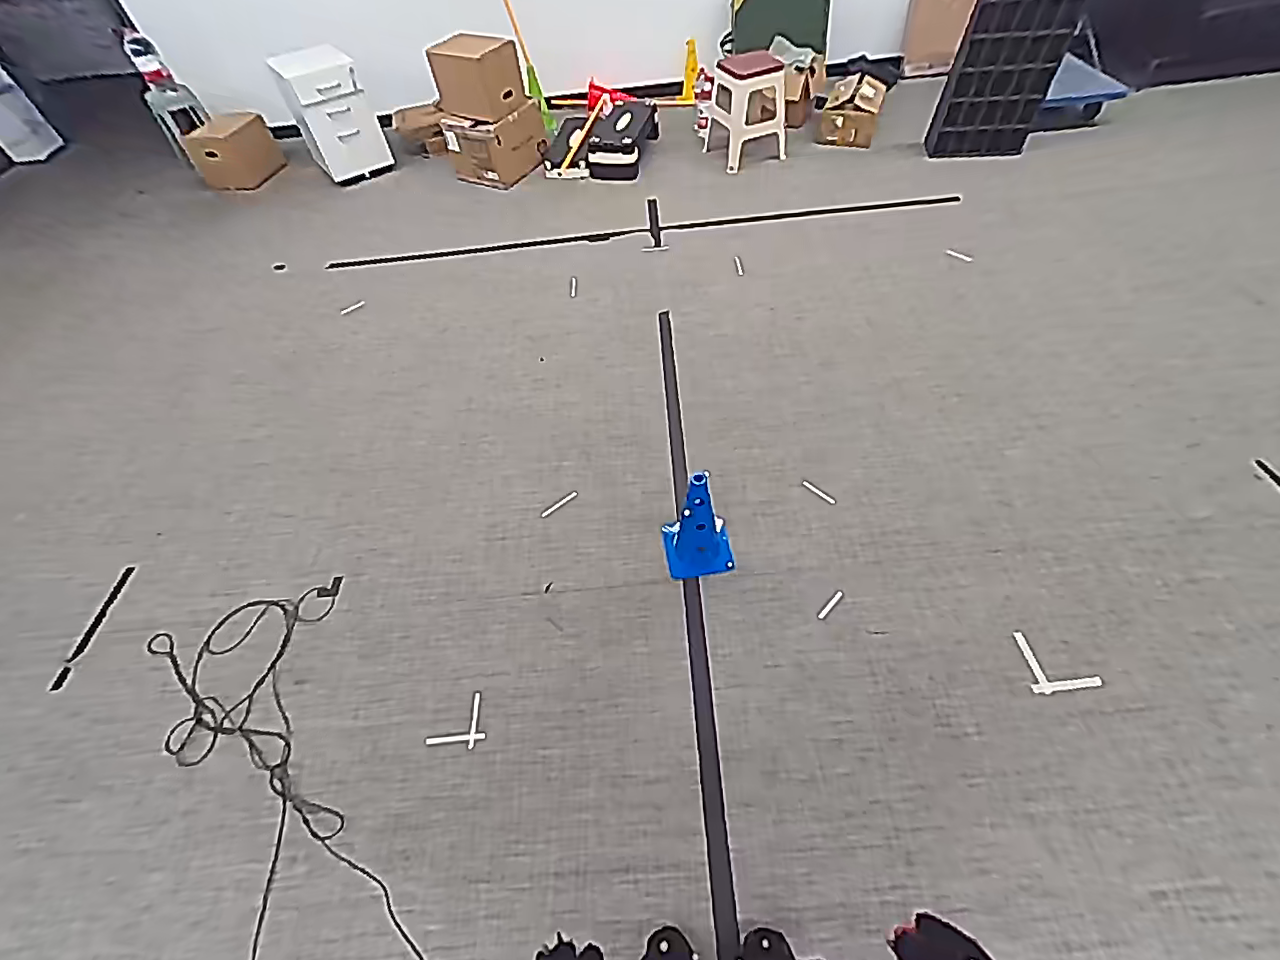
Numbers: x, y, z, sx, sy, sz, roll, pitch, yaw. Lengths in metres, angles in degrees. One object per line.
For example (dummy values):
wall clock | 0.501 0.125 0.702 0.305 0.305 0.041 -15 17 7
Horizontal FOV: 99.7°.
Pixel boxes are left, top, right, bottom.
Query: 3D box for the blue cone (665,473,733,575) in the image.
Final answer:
blue cone | 0.169 0.109 1.552 0.192 0.380 0.193 -7 52 -1
